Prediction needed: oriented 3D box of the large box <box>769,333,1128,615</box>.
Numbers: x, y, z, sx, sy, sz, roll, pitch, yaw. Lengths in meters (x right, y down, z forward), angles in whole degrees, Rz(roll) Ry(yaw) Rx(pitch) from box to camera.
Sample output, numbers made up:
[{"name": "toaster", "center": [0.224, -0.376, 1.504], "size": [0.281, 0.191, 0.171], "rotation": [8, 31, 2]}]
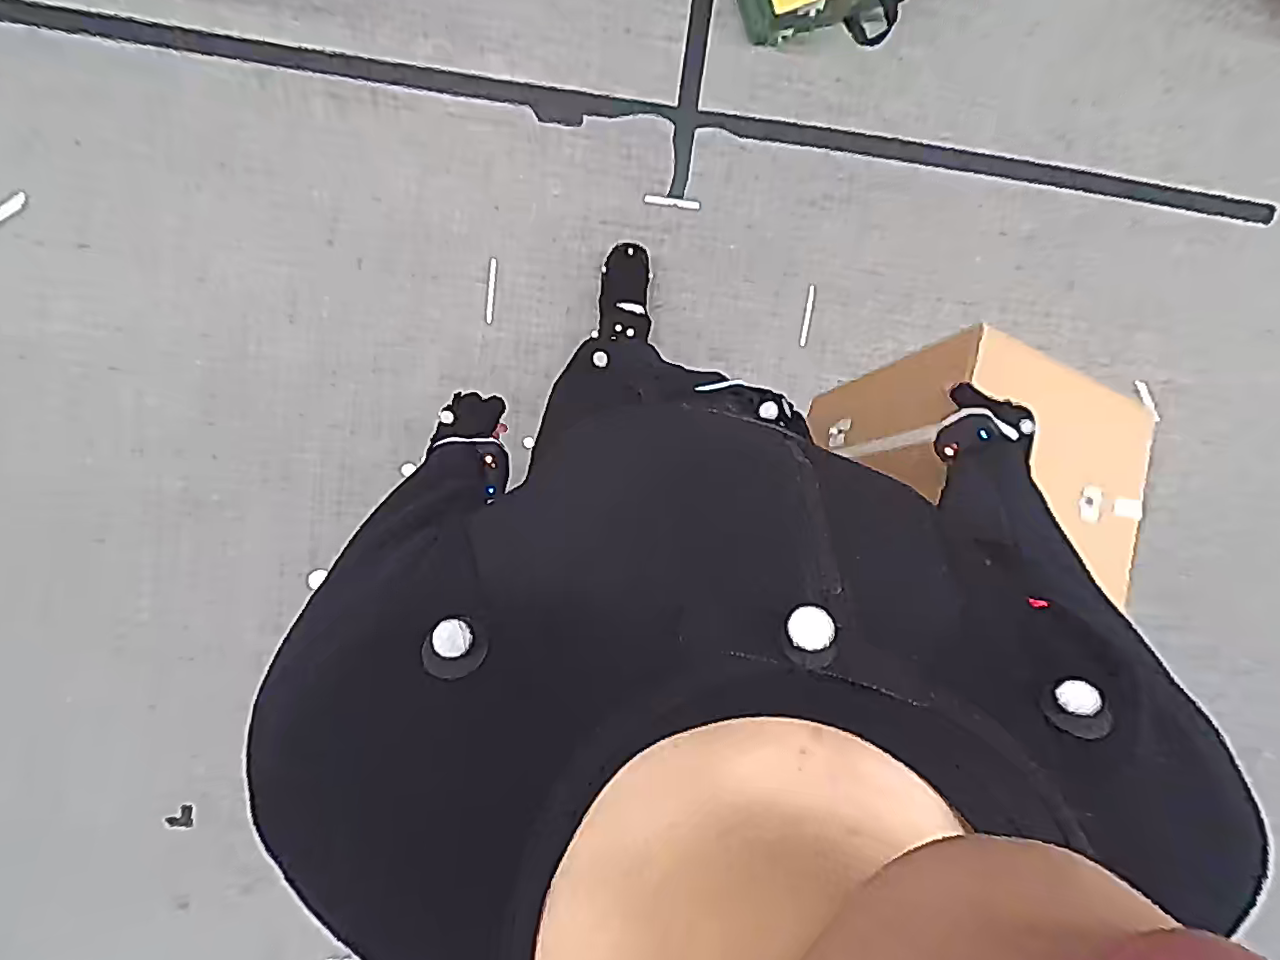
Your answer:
[{"name": "large box", "center": [0.485, 0.015, 0.916], "size": [0.320, 0.408, 0.320], "rotation": [23, 79, -11]}]
